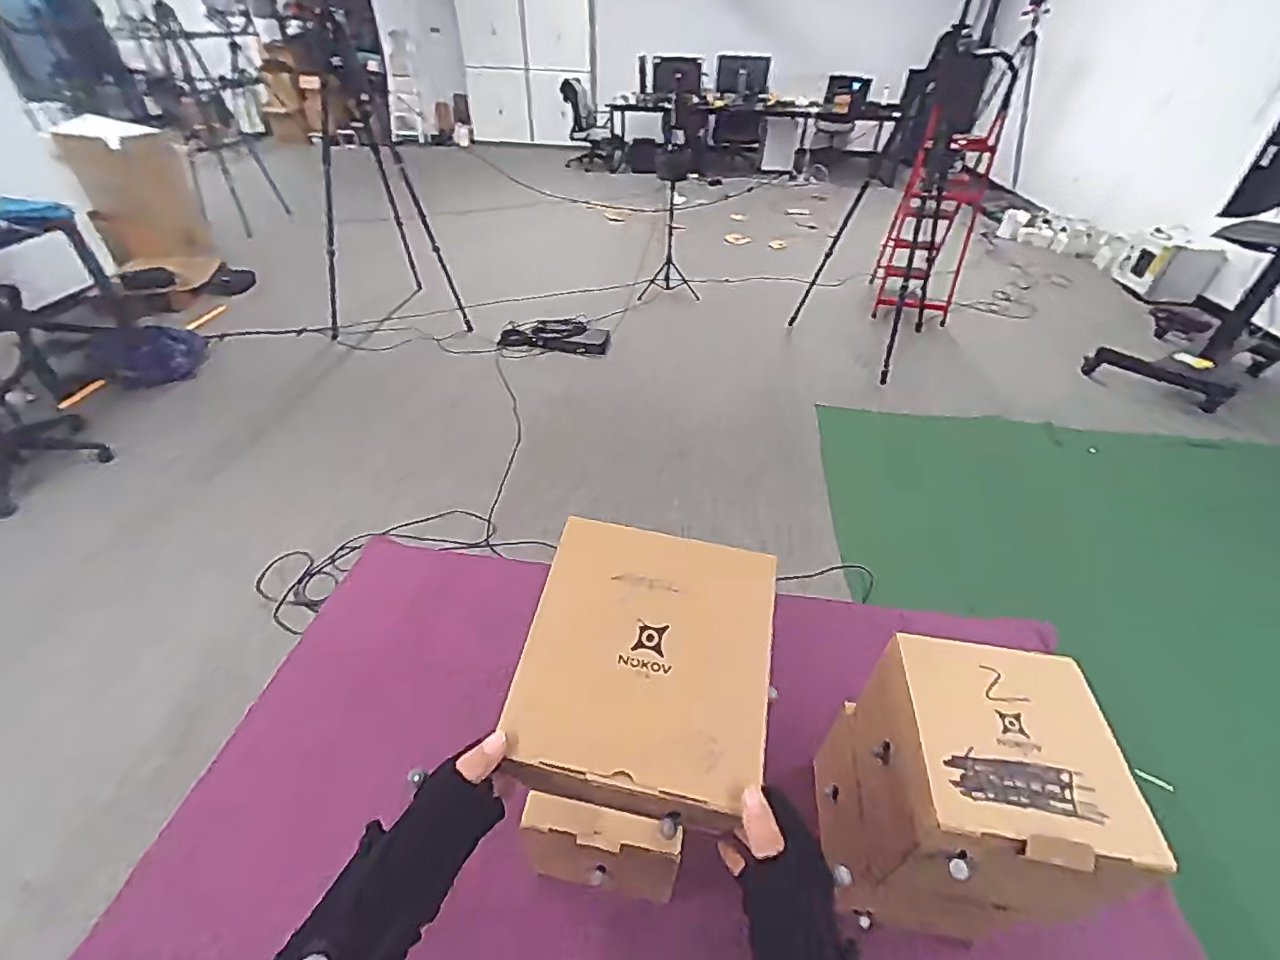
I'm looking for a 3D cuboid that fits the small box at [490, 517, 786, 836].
[{"bbox_3d":[0.006,0.159,0.424,0.168,0.176,0.179,12,55,6],"label":"small box"}]

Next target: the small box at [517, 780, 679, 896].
[{"bbox_3d":[-0.030,0.363,0.647,0.168,0.176,0.179,8,42,7],"label":"small box"}]

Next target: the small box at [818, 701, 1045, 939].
[{"bbox_3d":[0.310,0.392,0.623,0.168,0.176,0.179,10,42,7],"label":"small box"}]
